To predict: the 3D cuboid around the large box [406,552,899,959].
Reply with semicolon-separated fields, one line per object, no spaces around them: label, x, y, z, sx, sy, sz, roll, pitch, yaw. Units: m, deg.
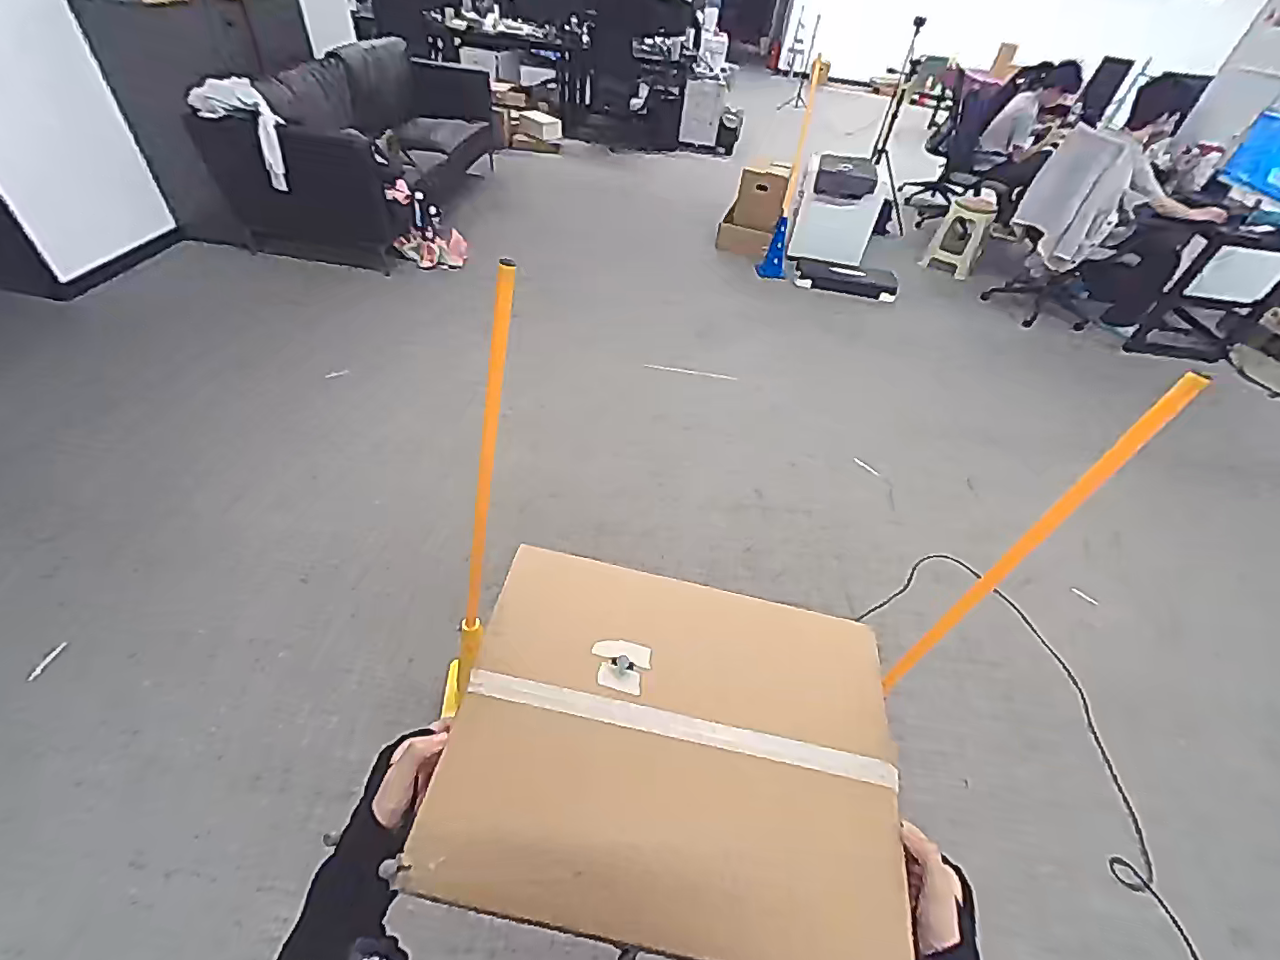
large box;0.017;0.327;0.629;0.408;0.320;0.320;13;50;1
